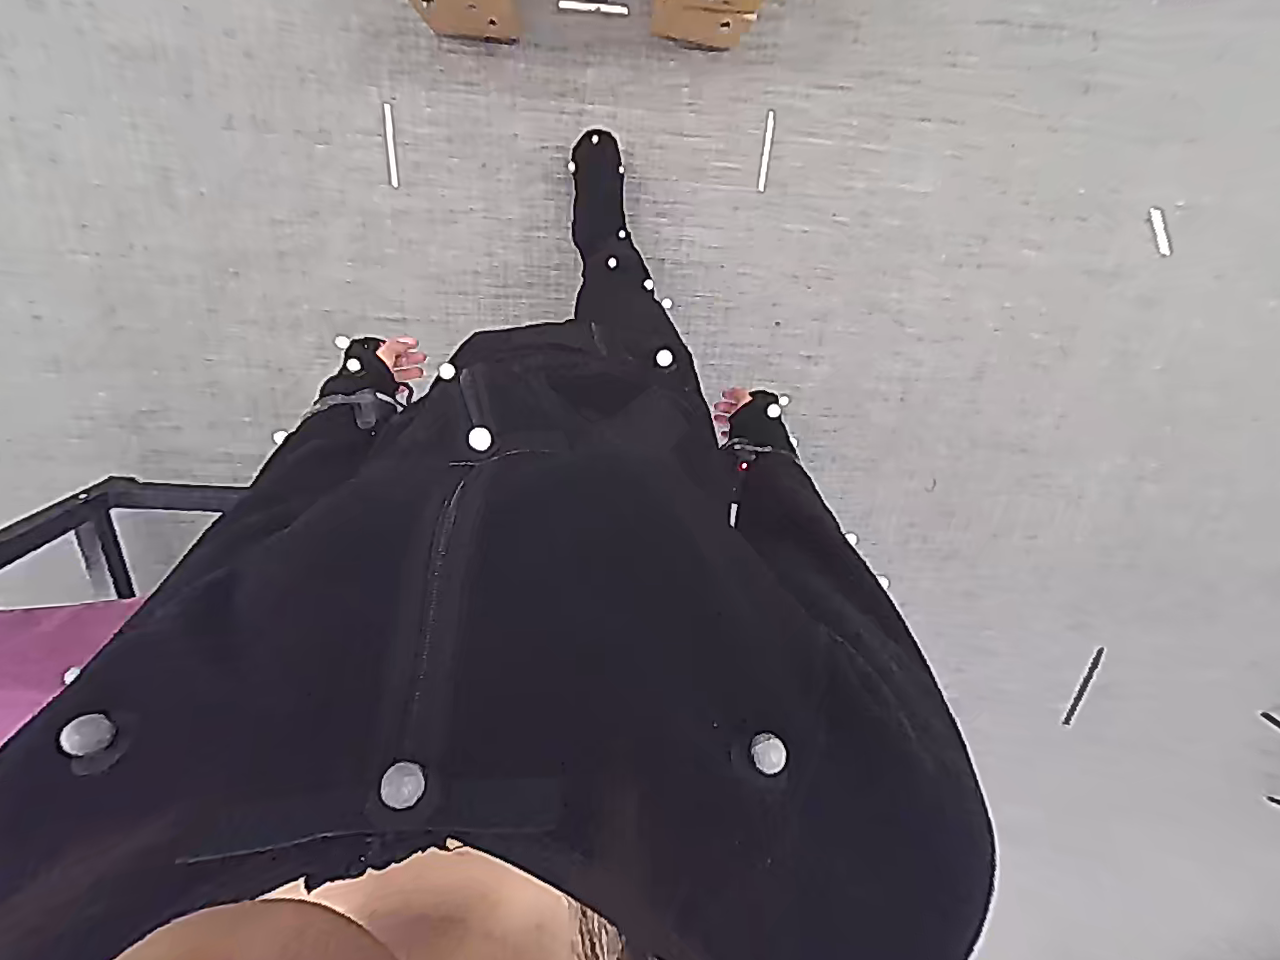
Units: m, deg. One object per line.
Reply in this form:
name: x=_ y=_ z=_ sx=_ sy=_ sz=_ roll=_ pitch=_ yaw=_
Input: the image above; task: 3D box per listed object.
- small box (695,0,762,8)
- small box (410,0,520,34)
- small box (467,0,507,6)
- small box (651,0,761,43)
small box: x=0.142 y=-0.876 z=0.832 sx=0.168 sy=0.176 sz=0.179 roll=1 pitch=115 yaw=-7
small box: x=-0.309 y=-0.917 z=0.952 sx=0.179 sy=0.176 sz=0.168 roll=0 pitch=114 yaw=-4
small box: x=-0.290 y=-0.849 z=0.804 sx=0.168 sy=0.176 sz=0.179 roll=2 pitch=113 yaw=-6
small box: x=0.126 y=-0.931 z=0.985 sx=0.179 sy=0.176 sz=0.168 roll=5 pitch=113 yaw=-9
